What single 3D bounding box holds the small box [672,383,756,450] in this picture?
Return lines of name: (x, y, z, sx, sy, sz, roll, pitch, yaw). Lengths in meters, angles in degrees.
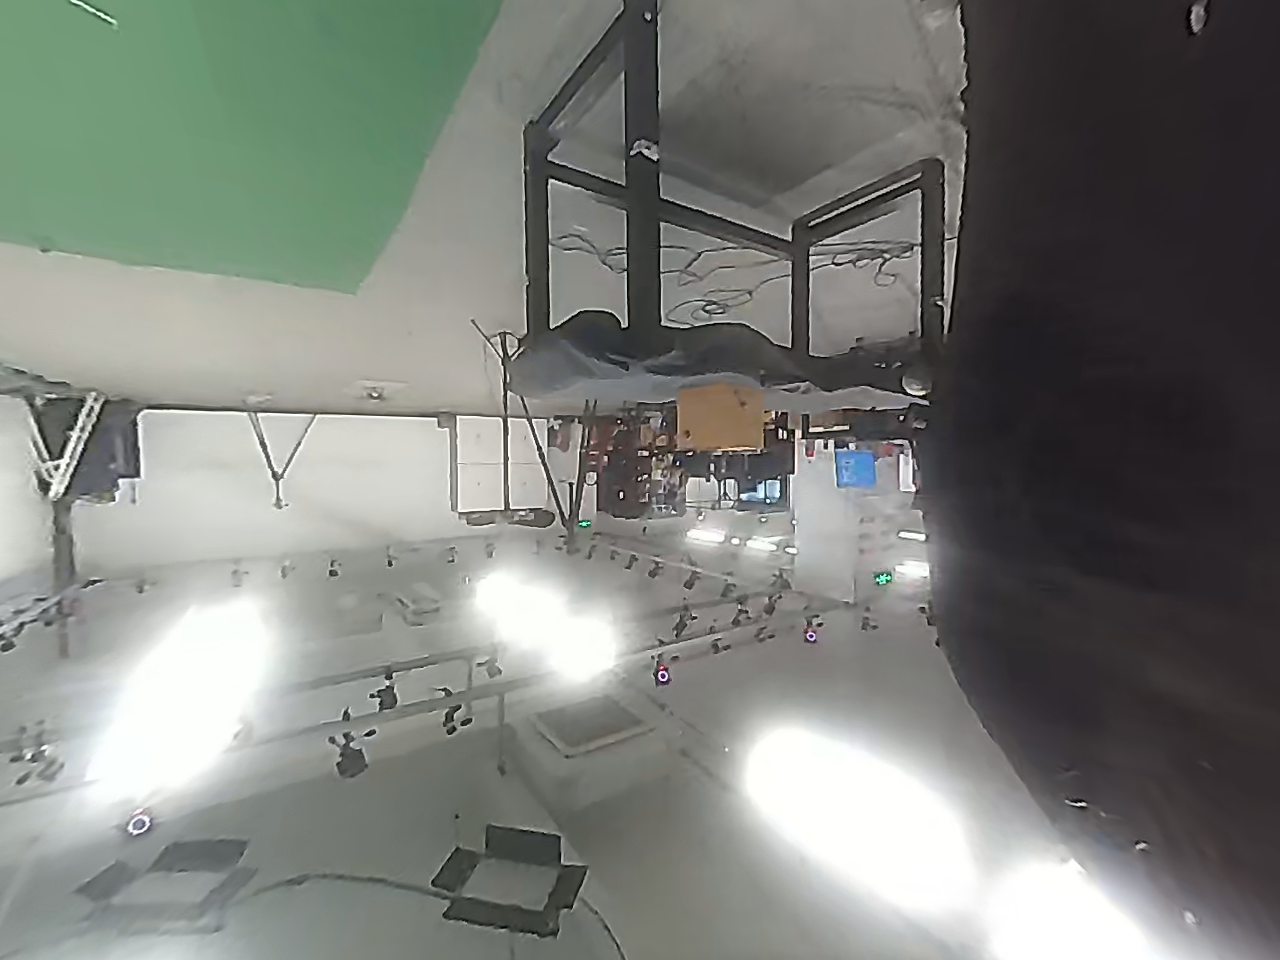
small box: (0.205, -0.169, 1.486, 0.168, 0.176, 0.179, -3, -177, -37)
